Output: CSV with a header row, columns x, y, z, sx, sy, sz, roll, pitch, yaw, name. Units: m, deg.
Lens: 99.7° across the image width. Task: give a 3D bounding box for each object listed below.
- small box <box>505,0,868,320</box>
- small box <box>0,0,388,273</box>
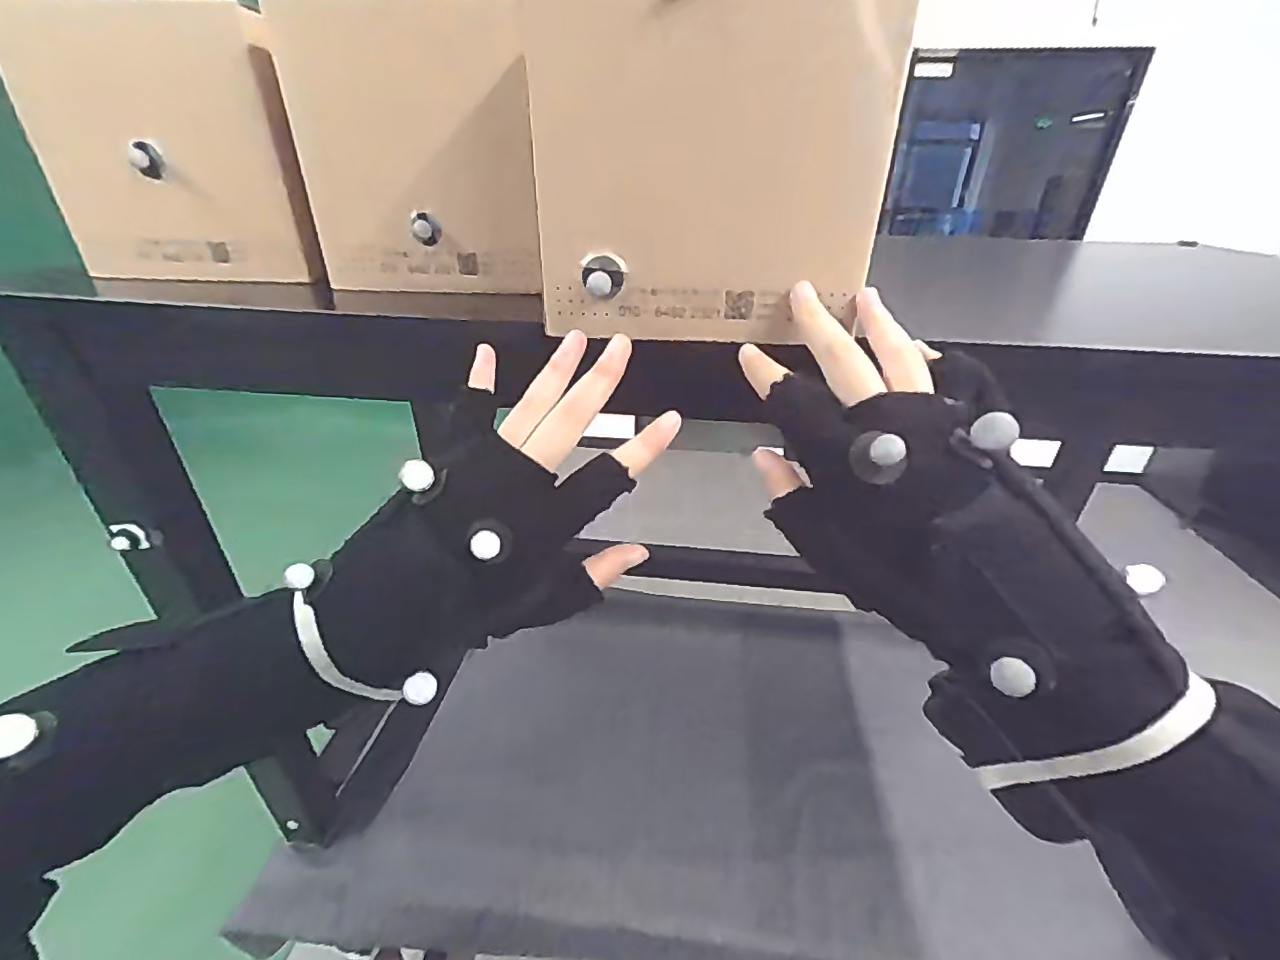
x,y,z,sx,sy,sz,roll,pitch,yaw,name
0.029,-0.201,0.336,0.168,0.176,0.179,3,28,4,small box
-0.336,-0.275,0.457,0.168,0.176,0.179,2,29,-1,small box
